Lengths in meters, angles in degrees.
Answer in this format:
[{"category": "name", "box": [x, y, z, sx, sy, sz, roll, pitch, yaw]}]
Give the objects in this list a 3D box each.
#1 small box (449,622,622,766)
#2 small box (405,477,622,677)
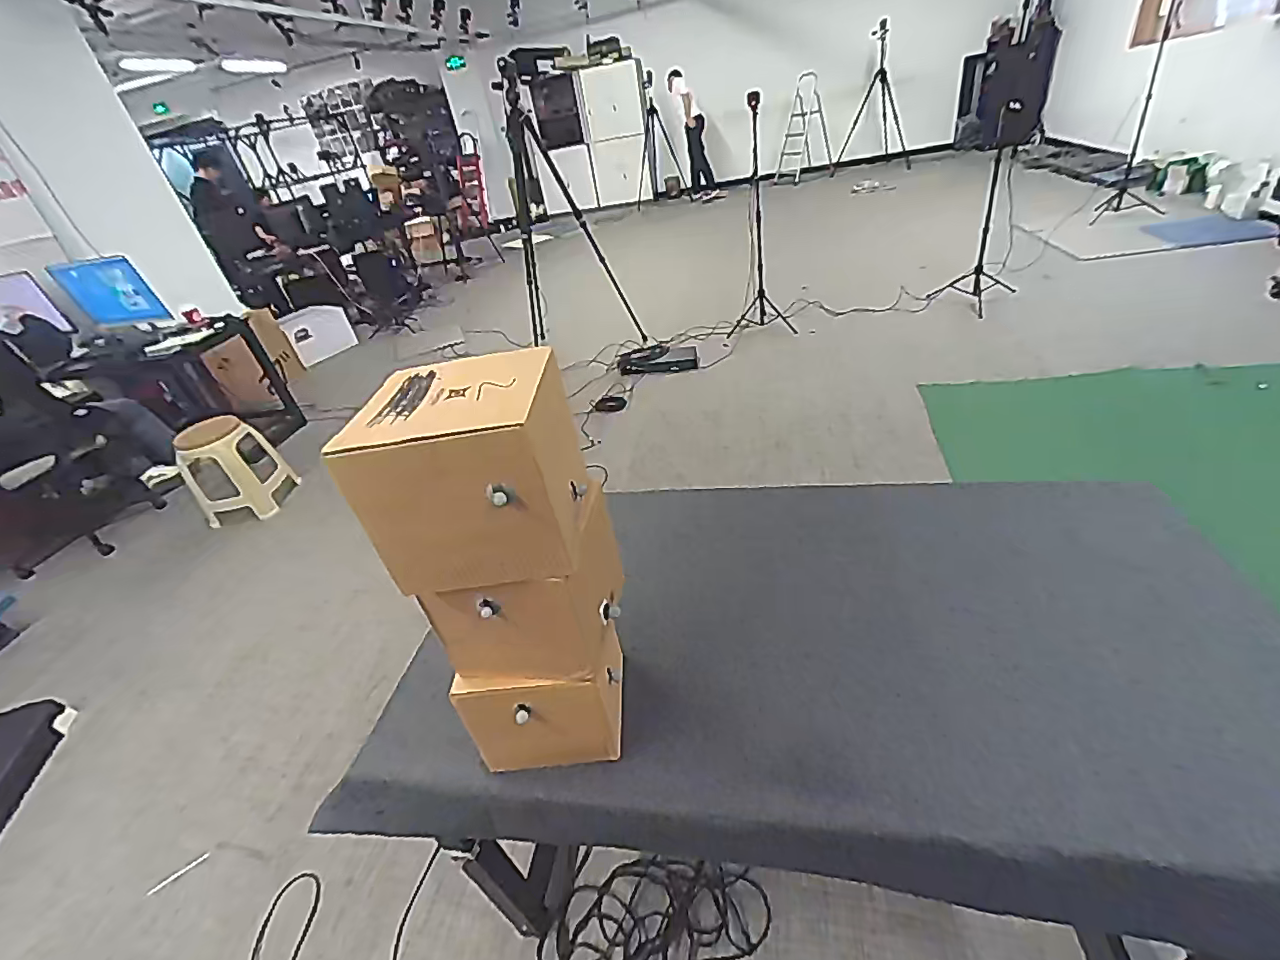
[{"category": "small box", "box": [-0.121, 0.254, 0.720, 0.179, 0.176, 0.168, -8, 34, 5]}, {"category": "small box", "box": [-0.131, 0.113, 0.637, 0.179, 0.176, 0.168, -2, 36, 12]}]
